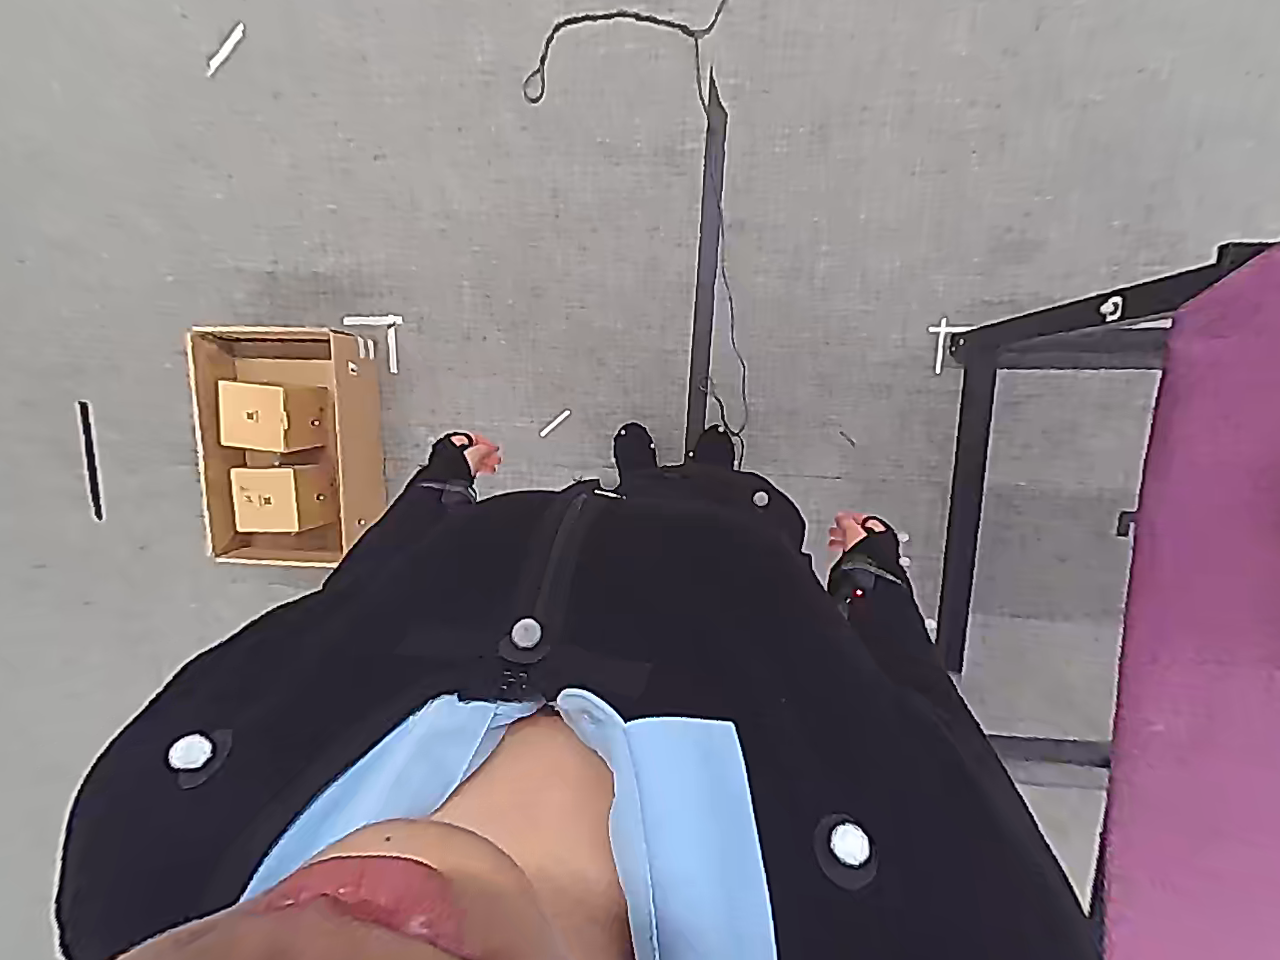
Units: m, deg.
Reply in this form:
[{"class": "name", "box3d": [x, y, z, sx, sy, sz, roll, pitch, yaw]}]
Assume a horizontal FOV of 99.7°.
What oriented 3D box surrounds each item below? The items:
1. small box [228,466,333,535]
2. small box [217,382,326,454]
[{"class": "small box", "box3d": [-0.959, 0.050, 1.461, 0.179, 0.176, 0.168, 0, 96, 5]}, {"class": "small box", "box3d": [-0.973, -0.166, 1.434, 0.179, 0.176, 0.168, 7, 99, 4]}]
